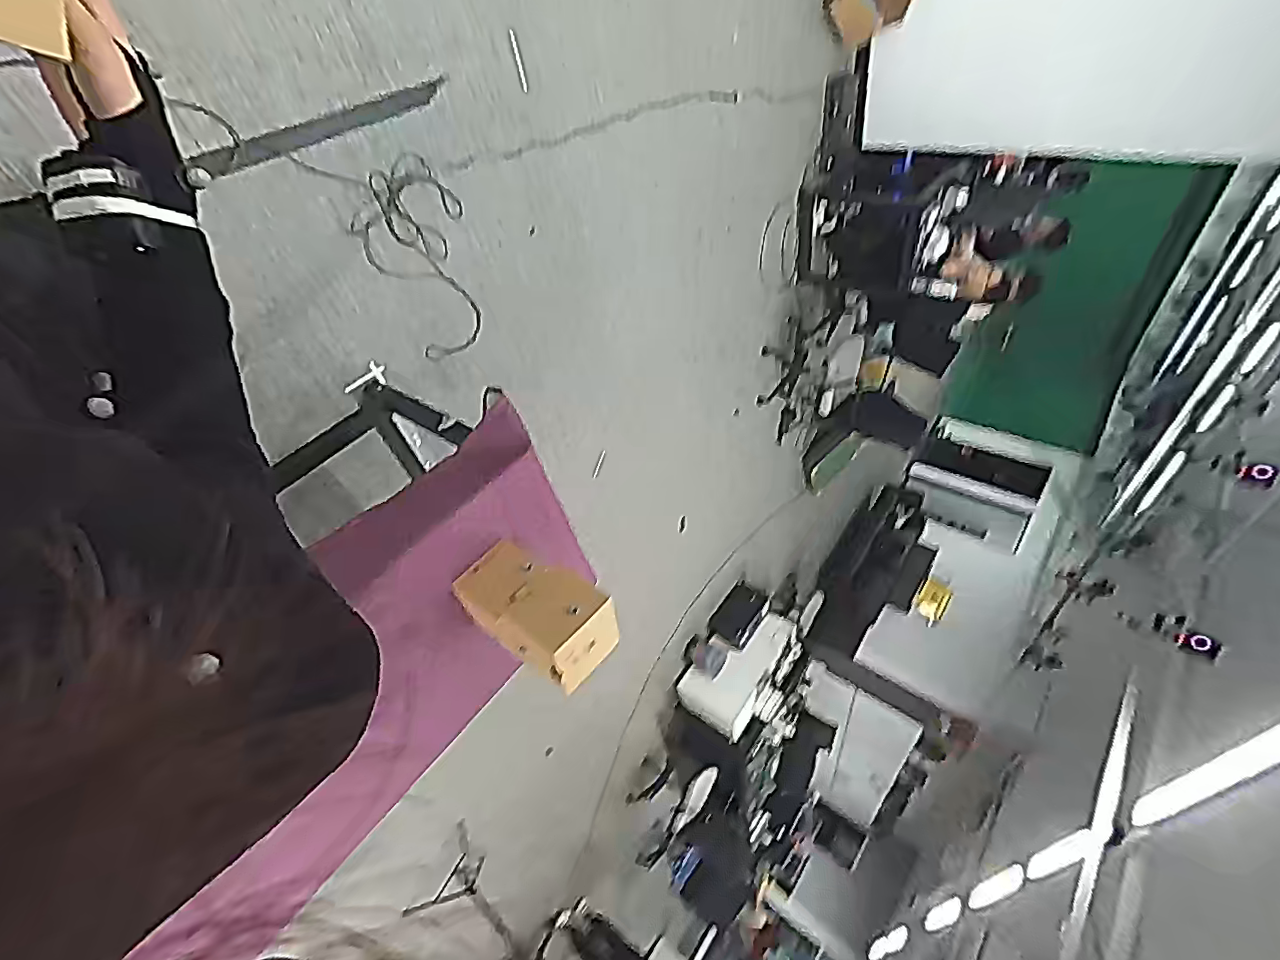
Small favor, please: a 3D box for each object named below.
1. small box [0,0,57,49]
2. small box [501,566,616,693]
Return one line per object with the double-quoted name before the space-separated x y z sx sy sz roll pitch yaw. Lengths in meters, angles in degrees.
"small box" -0.428 -0.344 0.254 0.168 0.176 0.179 -21 132 -53
"small box" -0.178 0.323 1.202 0.179 0.176 0.168 -40 139 -34
